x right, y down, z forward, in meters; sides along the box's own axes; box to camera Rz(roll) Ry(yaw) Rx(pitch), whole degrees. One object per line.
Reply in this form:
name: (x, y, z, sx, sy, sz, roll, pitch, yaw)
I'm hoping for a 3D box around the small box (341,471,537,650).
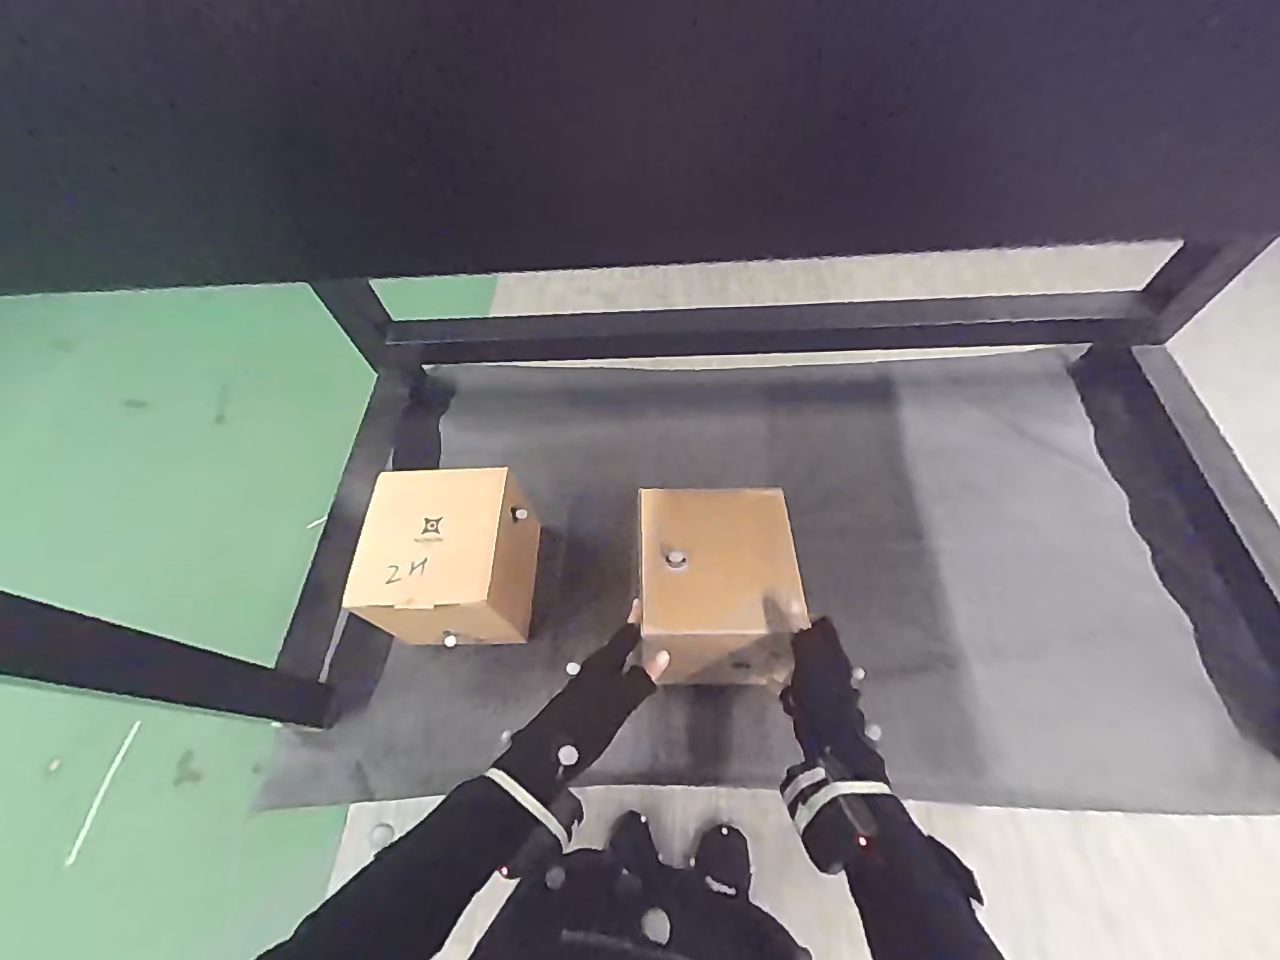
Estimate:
small box: (-0.237, 0.106, 0.692, 0.168, 0.176, 0.179, -2, 58, 5)
